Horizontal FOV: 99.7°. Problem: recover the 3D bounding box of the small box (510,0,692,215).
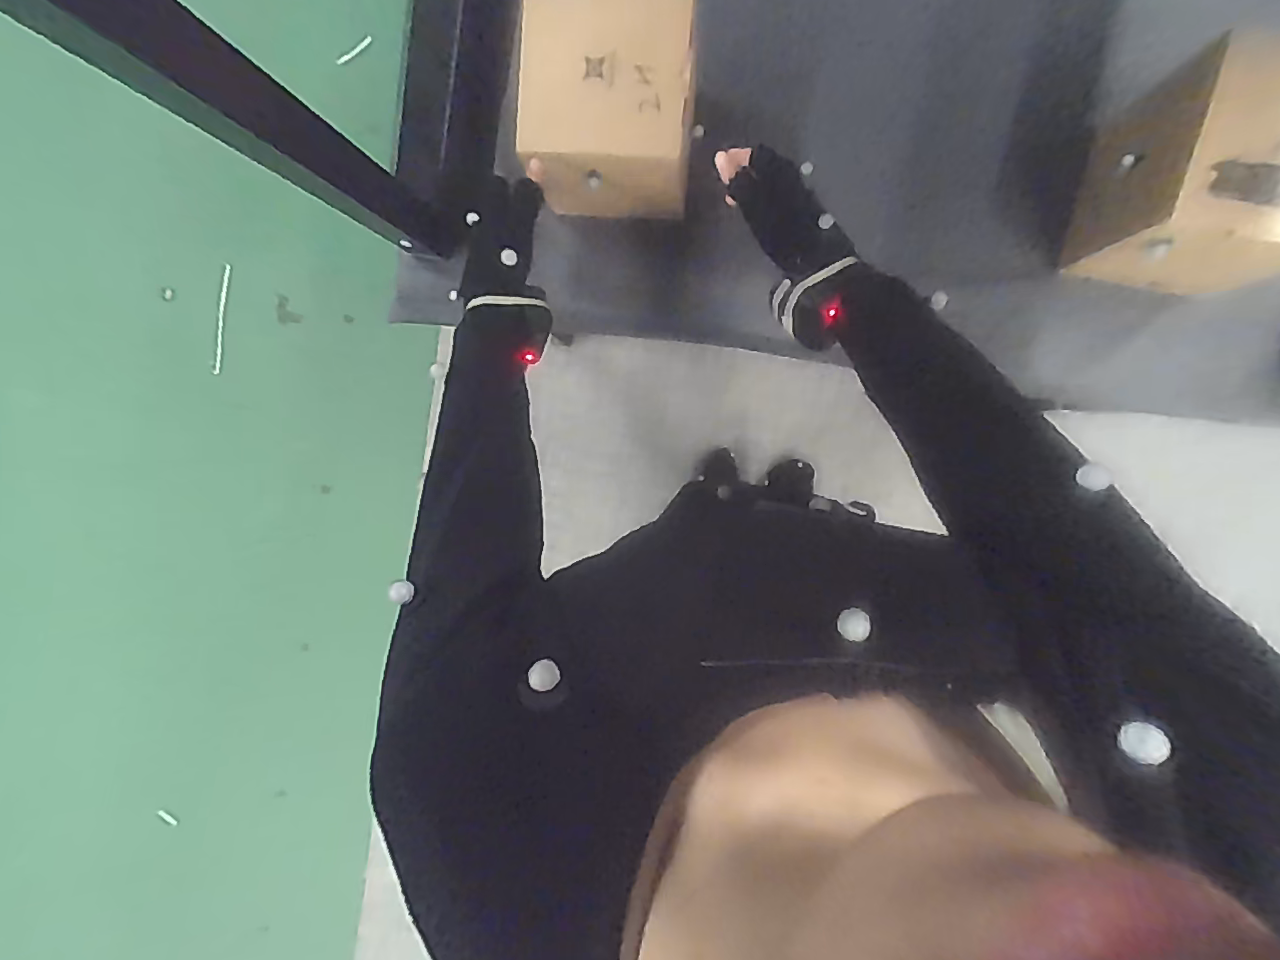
[{"bbox_3d":[-0.035,-0.425,0.627,0.179,0.176,0.168,6,97,5],"label":"small box"}]
